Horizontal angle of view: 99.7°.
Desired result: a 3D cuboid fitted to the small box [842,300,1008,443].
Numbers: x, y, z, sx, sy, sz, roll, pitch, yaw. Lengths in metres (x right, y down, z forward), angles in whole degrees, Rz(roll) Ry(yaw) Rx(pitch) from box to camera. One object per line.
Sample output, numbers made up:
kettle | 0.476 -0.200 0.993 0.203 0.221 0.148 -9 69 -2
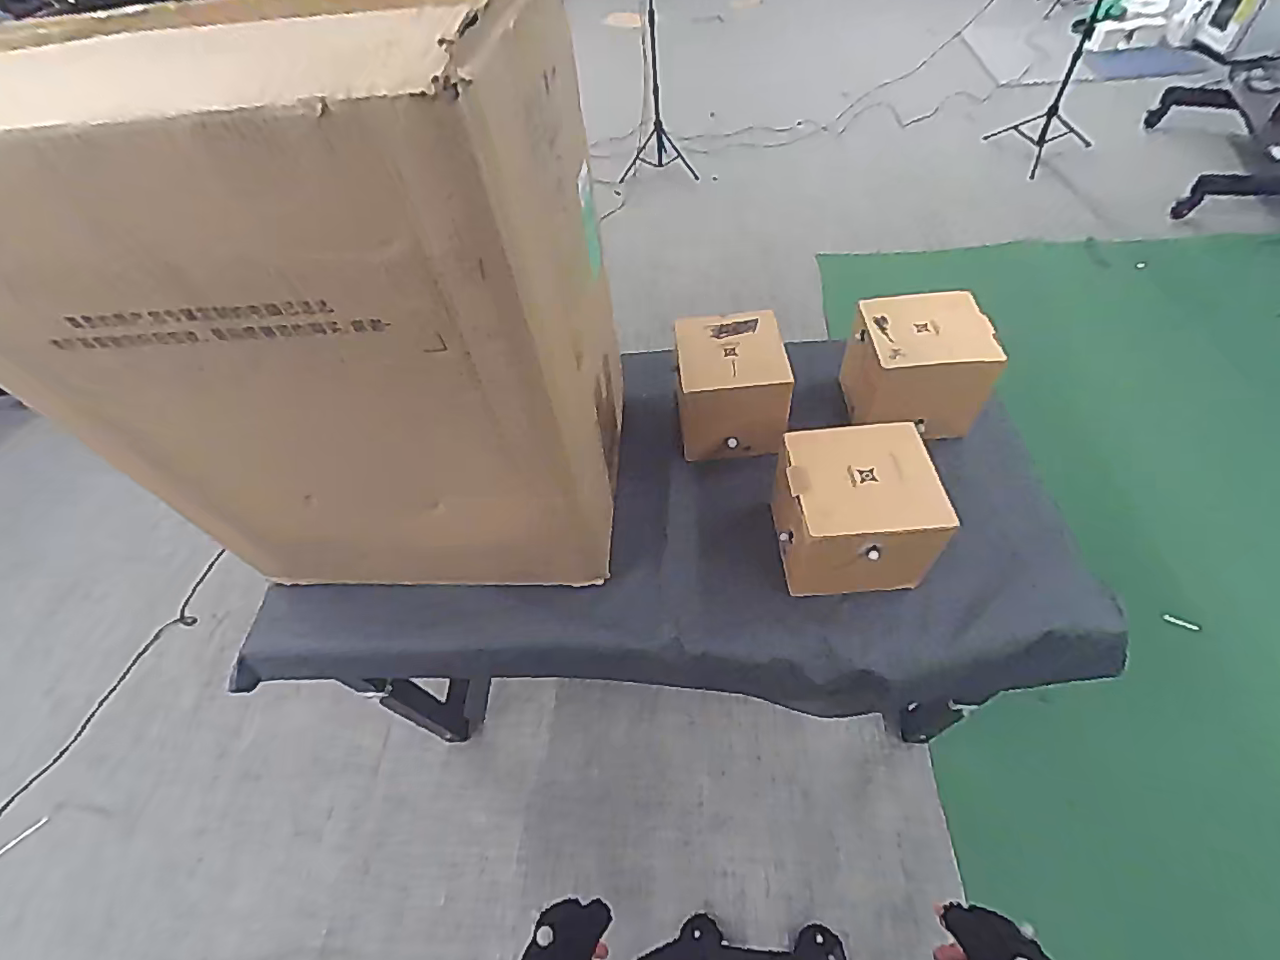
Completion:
small box | 0.454 -0.174 0.894 0.179 0.176 0.168 -2 51 5

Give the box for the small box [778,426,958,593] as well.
small box | 0.294 0.047 0.748 0.179 0.176 0.168 -4 54 3
